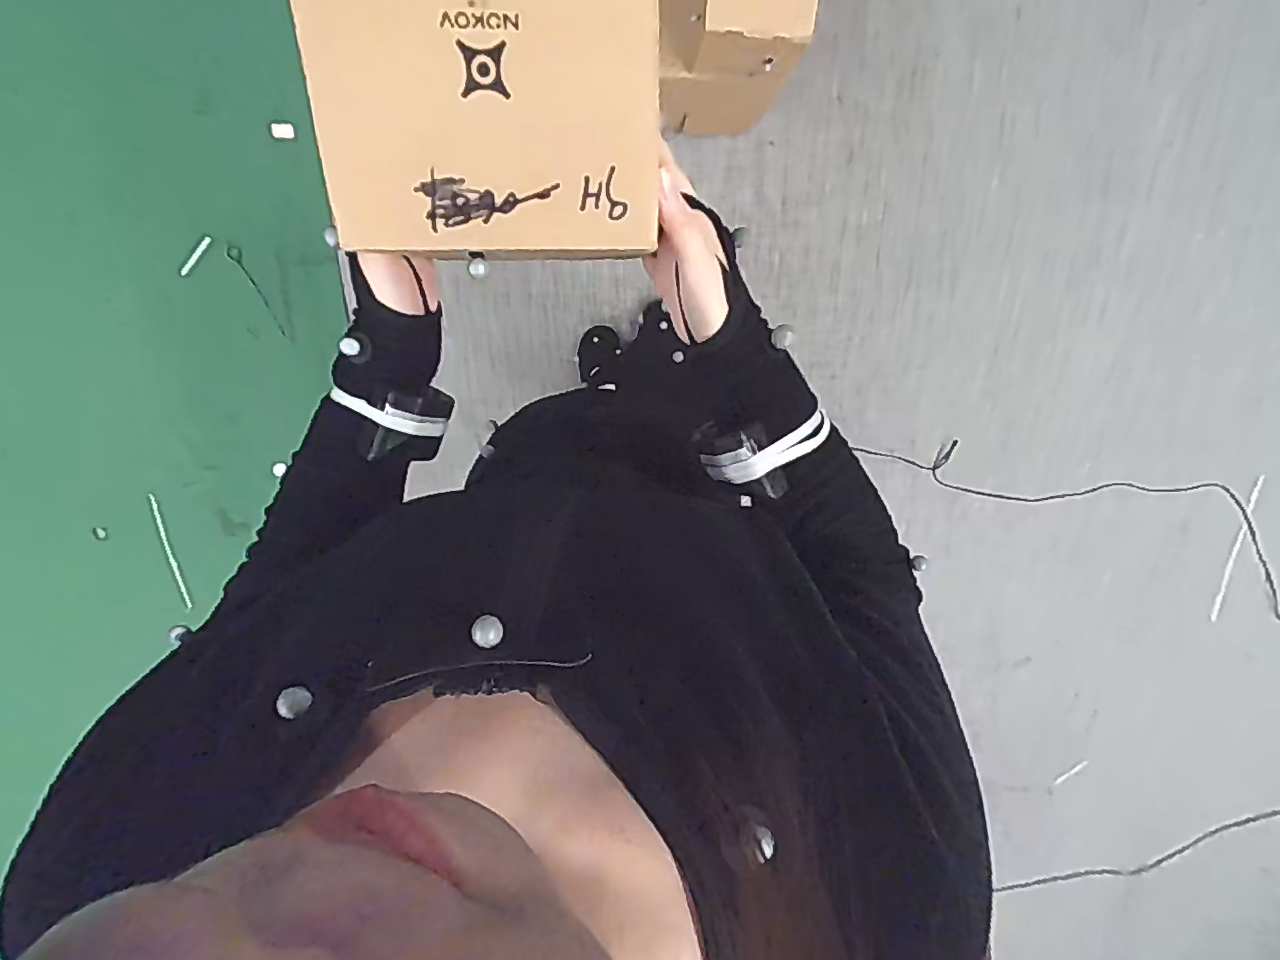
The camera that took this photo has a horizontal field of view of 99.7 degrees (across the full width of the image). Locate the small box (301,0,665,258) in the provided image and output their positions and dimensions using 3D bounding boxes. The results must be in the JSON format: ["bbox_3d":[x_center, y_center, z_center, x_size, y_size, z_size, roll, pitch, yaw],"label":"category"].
[{"bbox_3d":[-0.076,-0.233,0.325,0.168,0.176,0.179,-1,111,-3],"label":"small box"}]

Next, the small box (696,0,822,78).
[{"bbox_3d":[0.185,-0.764,0.845,0.168,0.176,0.179,4,108,-4],"label":"small box"}]
